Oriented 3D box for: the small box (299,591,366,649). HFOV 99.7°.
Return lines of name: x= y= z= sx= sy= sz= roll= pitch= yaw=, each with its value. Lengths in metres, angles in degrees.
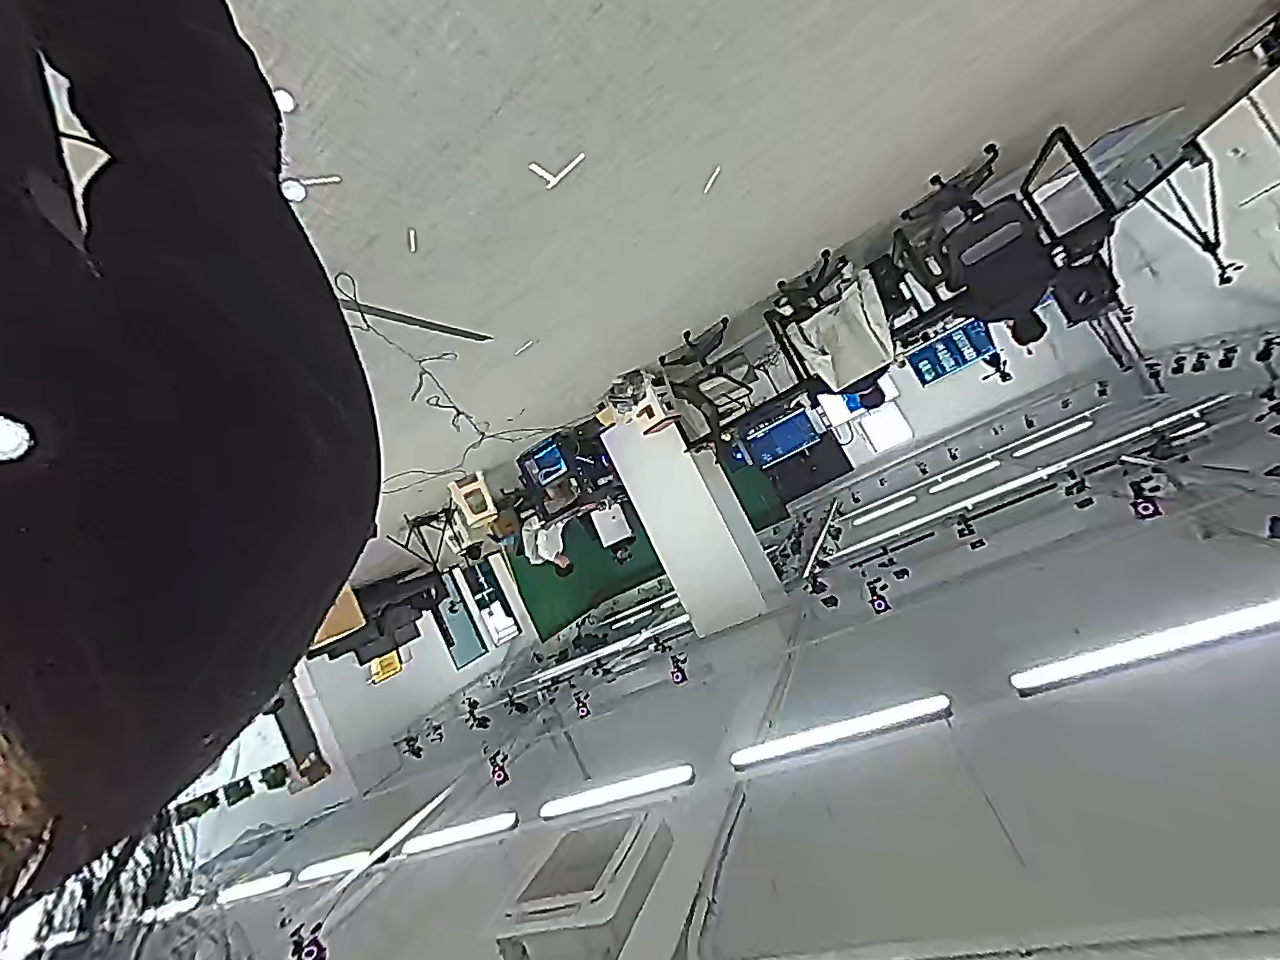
small box: x=-1.333 y=0.601 z=2.336 sx=0.168 sy=0.176 sz=0.179 roll=-29 pitch=174 yaw=29
